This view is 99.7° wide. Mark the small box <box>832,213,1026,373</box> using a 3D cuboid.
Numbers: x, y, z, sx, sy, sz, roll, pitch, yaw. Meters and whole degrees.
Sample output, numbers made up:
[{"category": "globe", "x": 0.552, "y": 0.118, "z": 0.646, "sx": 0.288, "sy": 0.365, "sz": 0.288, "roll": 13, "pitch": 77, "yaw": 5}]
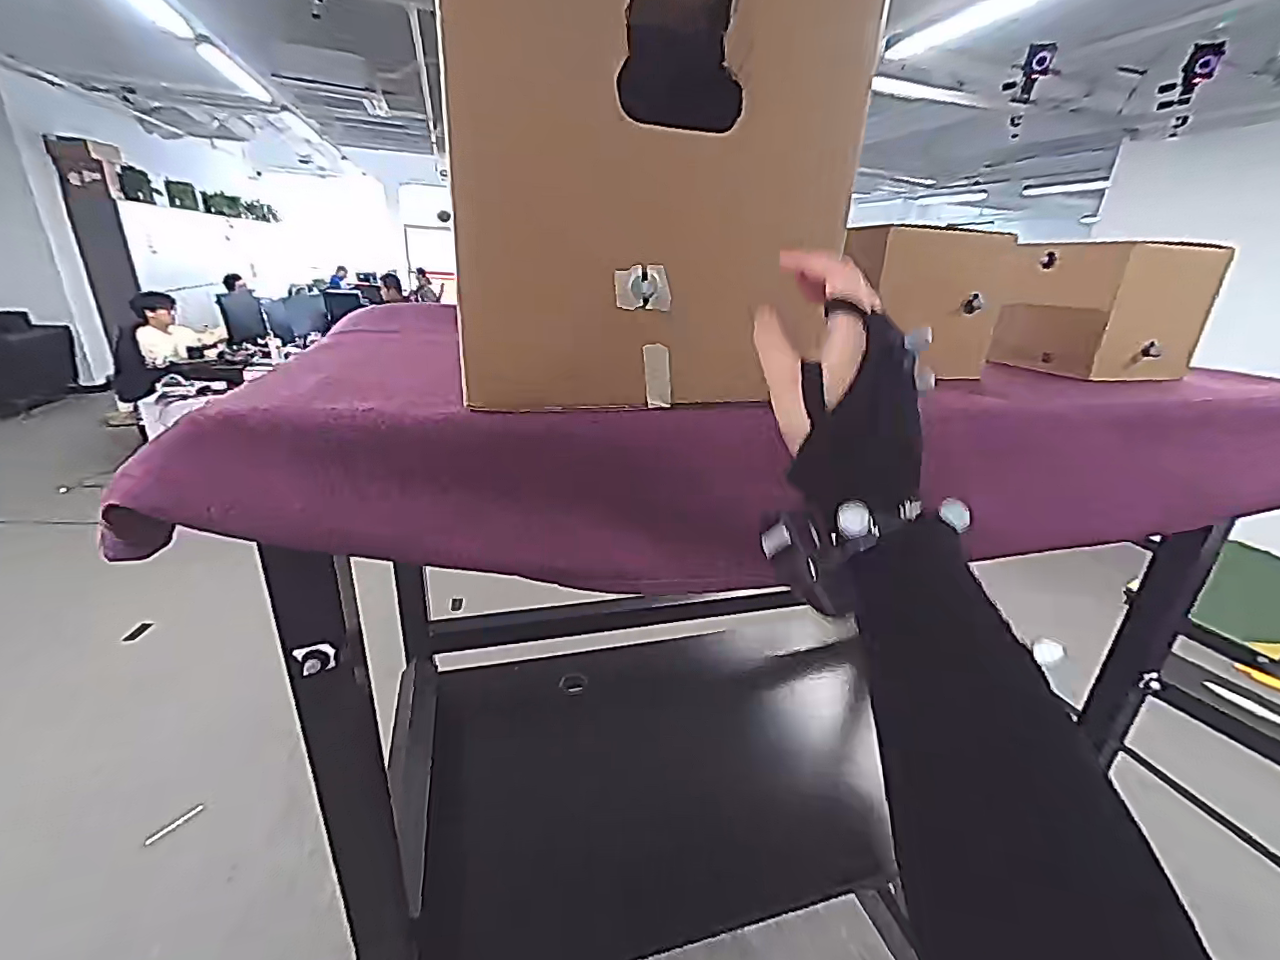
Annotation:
[{"category": "small box", "x": 0.324, "y": -0.232, "z": 0.680, "sx": 0.179, "sy": 0.176, "sz": 0.168, "roll": -3, "pitch": 22, "yaw": -14}]

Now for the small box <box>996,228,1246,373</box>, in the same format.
[{"category": "small box", "x": 0.635, "y": -0.244, "z": 0.739, "sx": 0.179, "sy": 0.176, "sz": 0.168, "roll": -3, "pitch": 22, "yaw": -14}]

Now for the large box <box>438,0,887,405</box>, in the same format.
[{"category": "large box", "x": -0.027, "y": -0.274, "z": 0.561, "sx": 0.320, "sy": 0.320, "sz": 0.408, "roll": -3, "pitch": 22, "yaw": -17}]
